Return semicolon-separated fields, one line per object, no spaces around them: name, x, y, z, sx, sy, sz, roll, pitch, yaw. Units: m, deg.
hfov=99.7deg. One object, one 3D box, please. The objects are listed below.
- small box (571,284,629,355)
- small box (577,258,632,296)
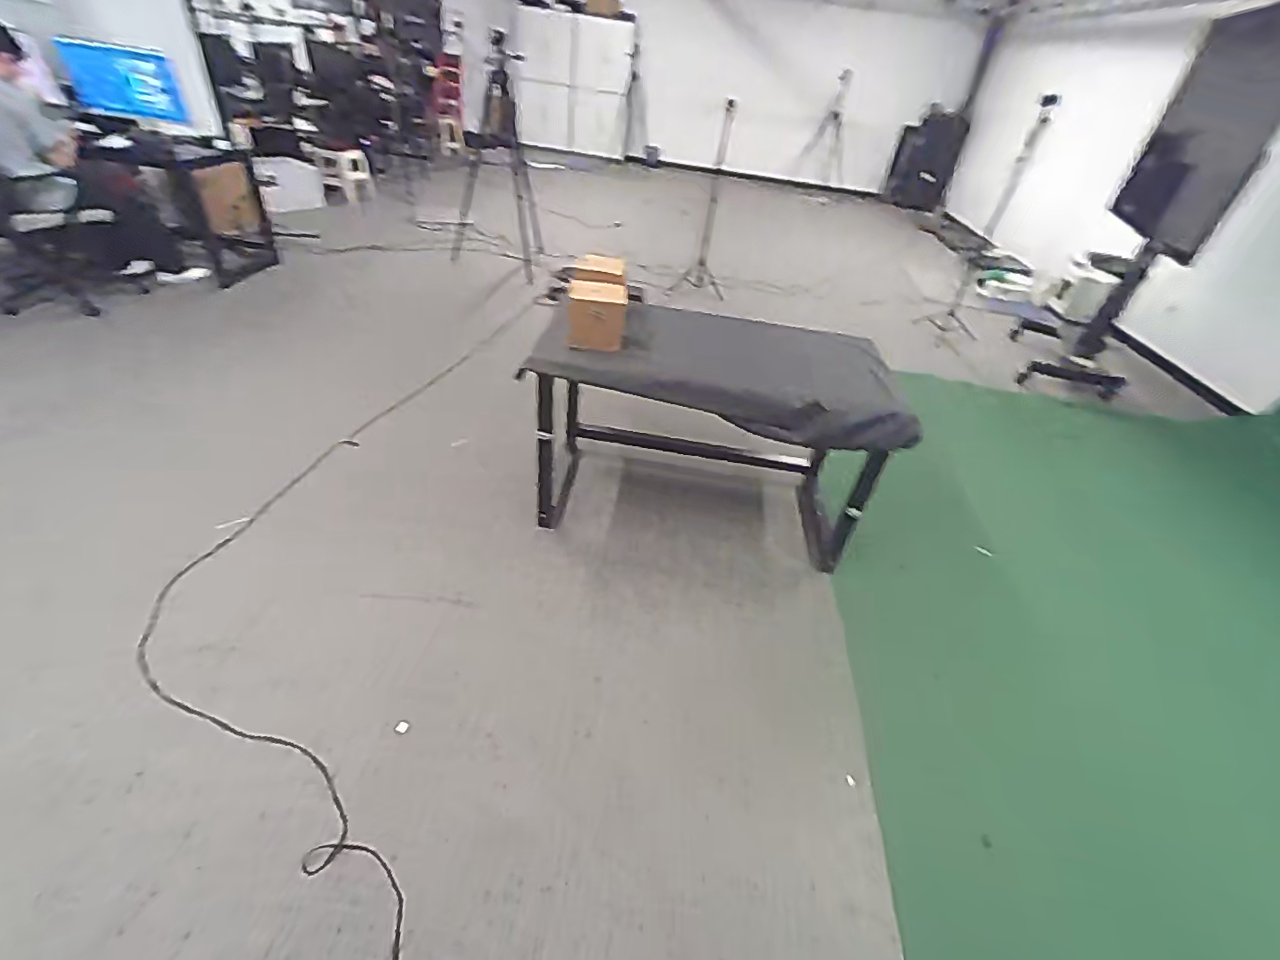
small box;-0.133;-0.525;1.775;0.179;0.176;0.168;5;38;-8
small box;-0.133;-0.697;1.993;0.179;0.176;0.168;10;38;0
